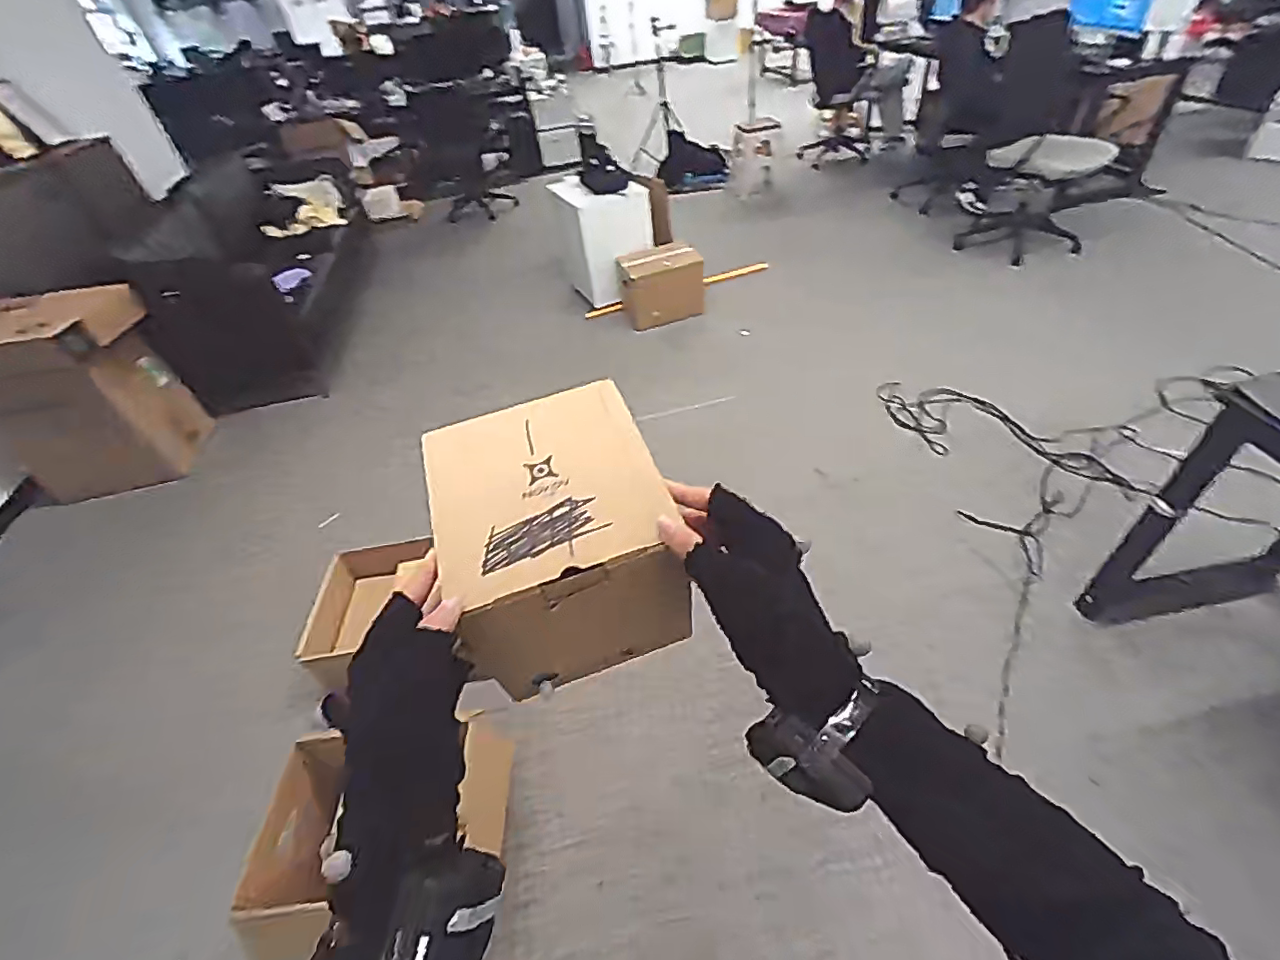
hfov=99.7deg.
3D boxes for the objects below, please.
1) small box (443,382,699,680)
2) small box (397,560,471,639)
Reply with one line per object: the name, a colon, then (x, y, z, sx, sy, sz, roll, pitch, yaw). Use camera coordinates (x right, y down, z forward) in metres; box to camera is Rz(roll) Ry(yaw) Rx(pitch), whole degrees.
small box: (-0.053, 0.051, 0.466, 0.168, 0.176, 0.179, -17, 50, -7)
small box: (-0.627, 0.378, 1.697, 0.179, 0.176, 0.168, -10, 42, 0)
